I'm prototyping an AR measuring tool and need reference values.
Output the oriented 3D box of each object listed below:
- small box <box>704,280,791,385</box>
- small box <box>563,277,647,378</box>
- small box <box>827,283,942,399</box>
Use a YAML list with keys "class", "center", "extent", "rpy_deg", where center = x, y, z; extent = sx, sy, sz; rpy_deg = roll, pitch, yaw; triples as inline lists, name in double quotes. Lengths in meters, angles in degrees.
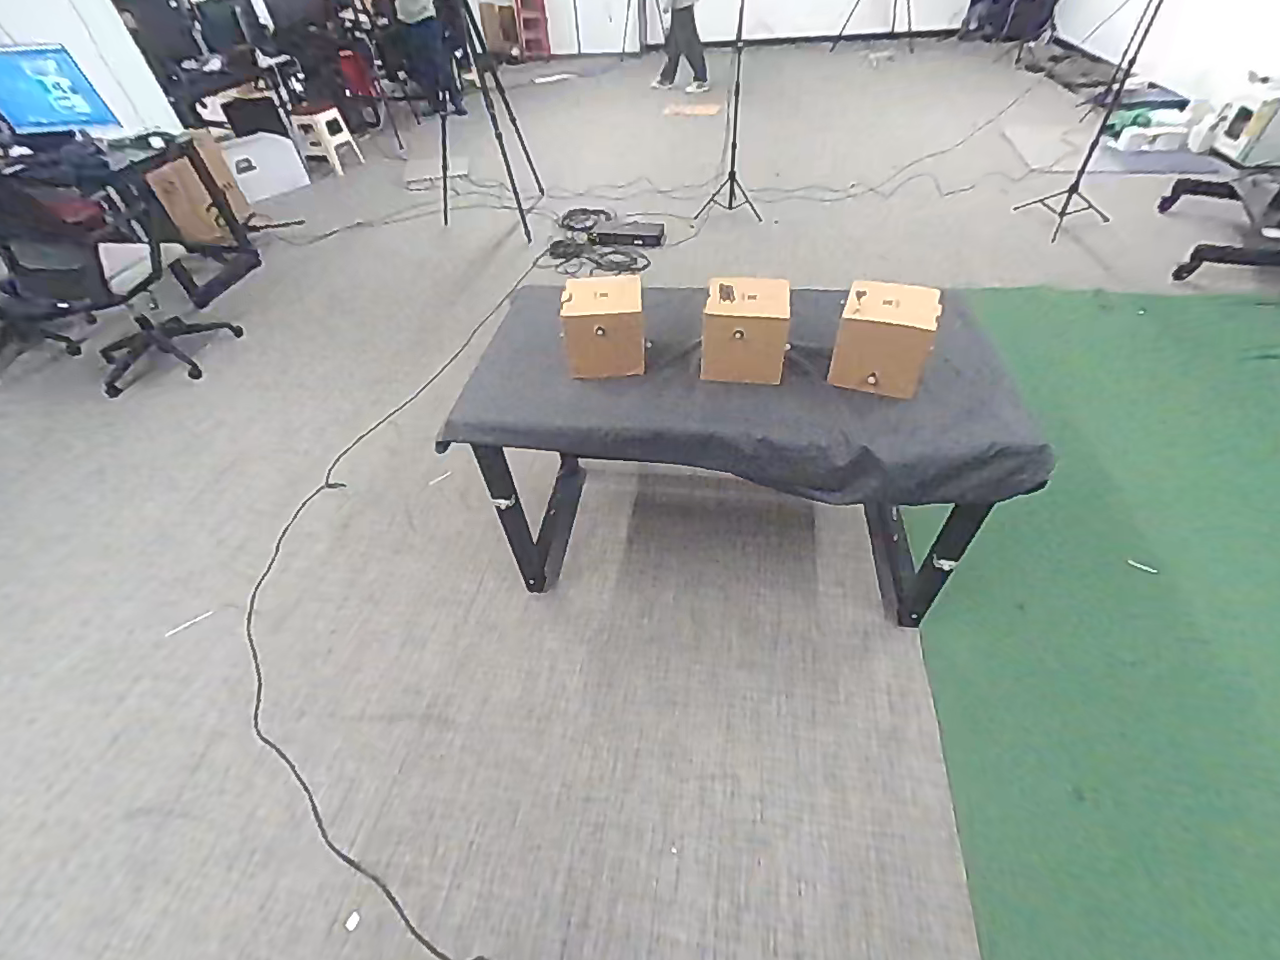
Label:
- class: "small box"
  center: [0.238, -0.328, 1.210]
  extent: [0.179, 0.176, 0.168]
  rpy_deg: [6, 47, 9]
- class: "small box"
  center: [-0.074, -0.351, 1.257]
  extent: [0.179, 0.176, 0.168]
  rpy_deg: [-2, 48, 1]
- class: "small box"
  center: [0.518, -0.294, 1.156]
  extent: [0.179, 0.176, 0.168]
  rpy_deg: [16, 50, 18]
